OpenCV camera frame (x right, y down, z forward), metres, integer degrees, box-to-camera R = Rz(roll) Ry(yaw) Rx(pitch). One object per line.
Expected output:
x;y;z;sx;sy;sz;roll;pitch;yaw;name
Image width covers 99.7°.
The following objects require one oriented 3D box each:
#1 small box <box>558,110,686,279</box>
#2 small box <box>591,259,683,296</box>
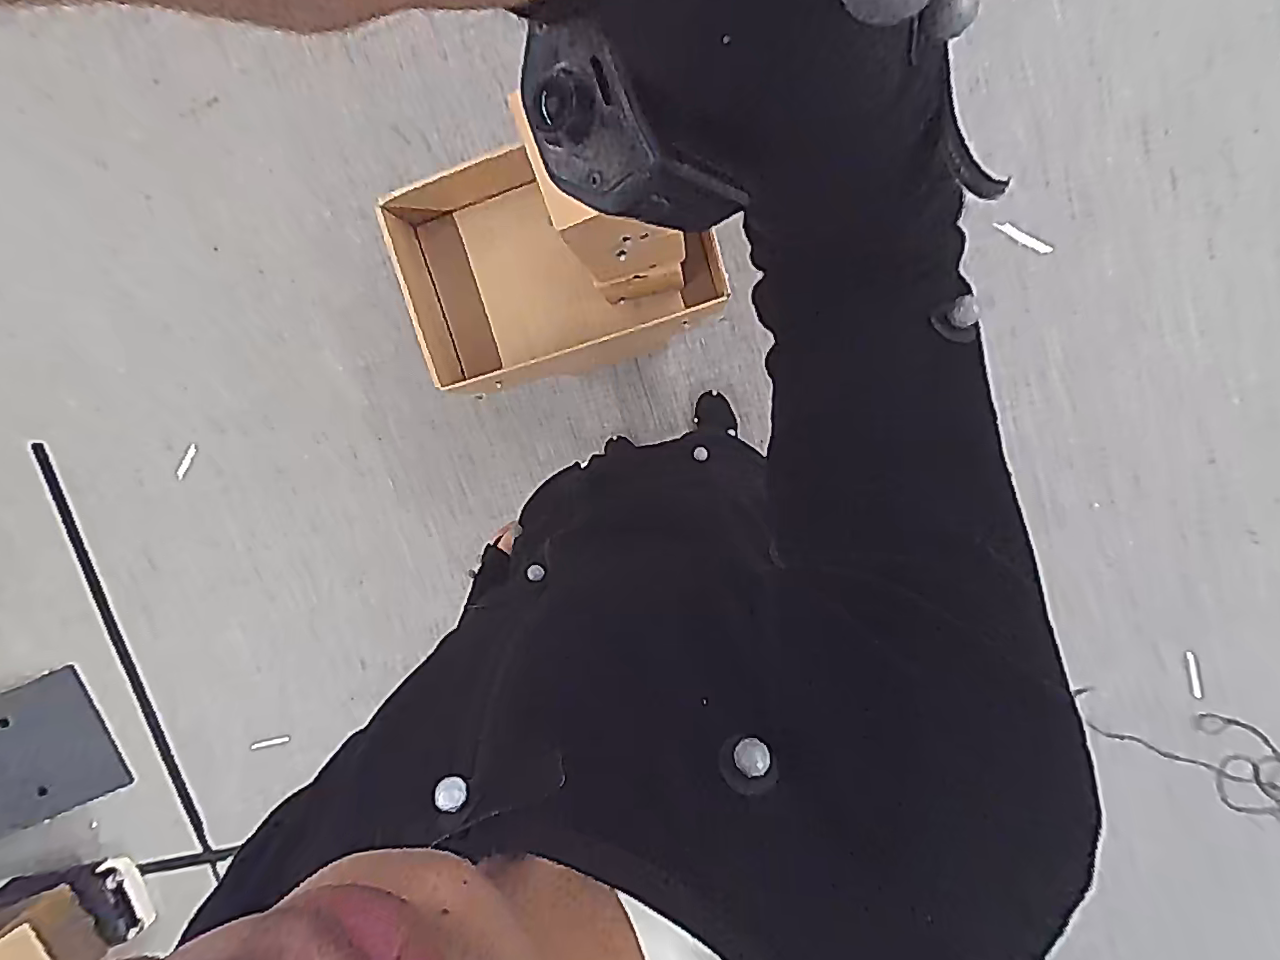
-0.021;-0.457;0.894;0.168;0.176;0.179;-13;96;8;small box
-0.009;-0.470;1.057;0.168;0.176;0.179;-9;96;7;small box
